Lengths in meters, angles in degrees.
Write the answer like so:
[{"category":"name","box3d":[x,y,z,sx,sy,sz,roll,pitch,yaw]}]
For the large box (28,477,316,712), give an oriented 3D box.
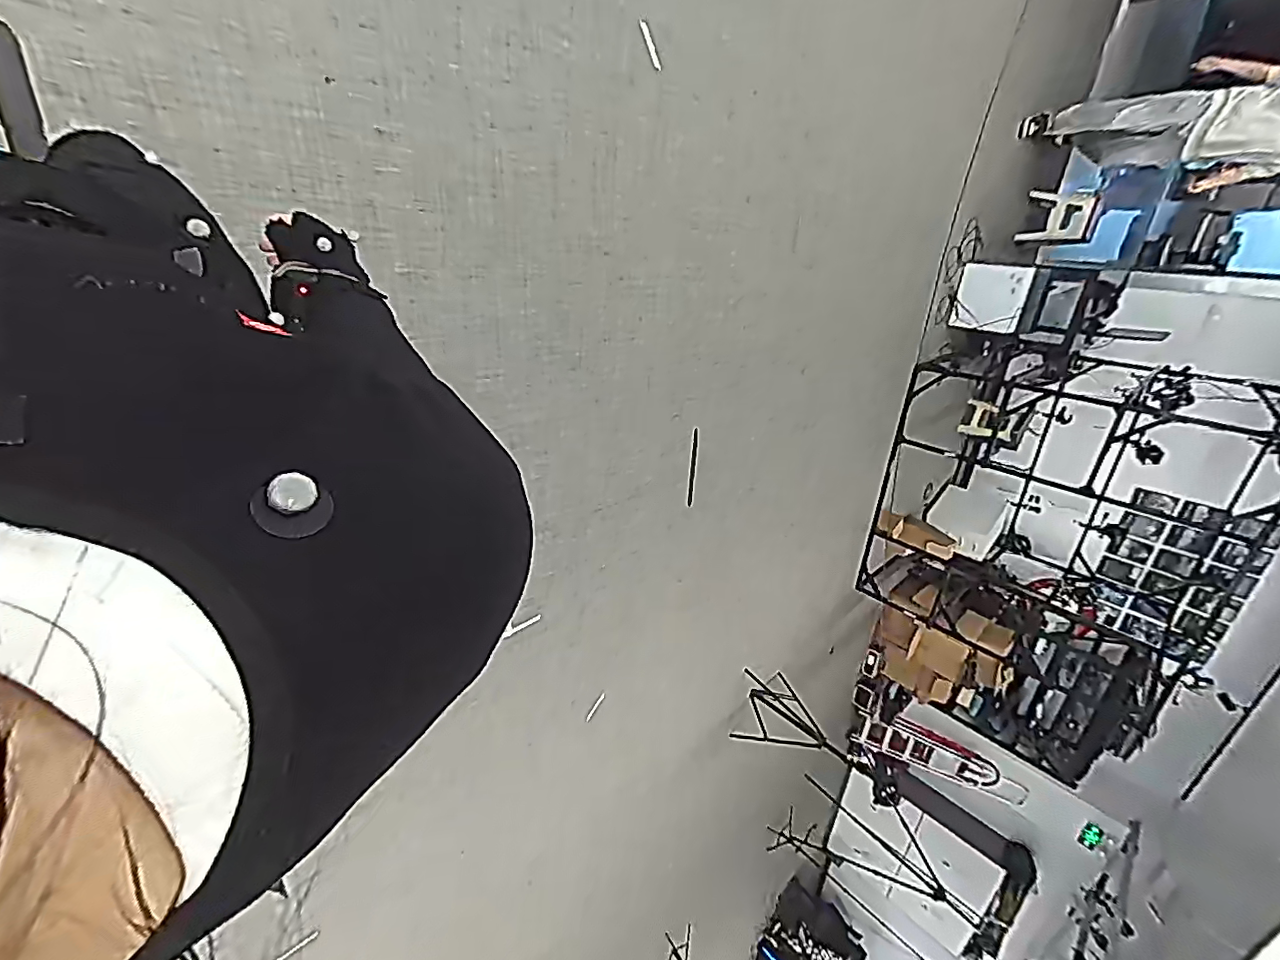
[{"category":"large box","box3d":[-0.948,0.194,1.119,0.408,0.320,0.320,-5,114,-47]}]
